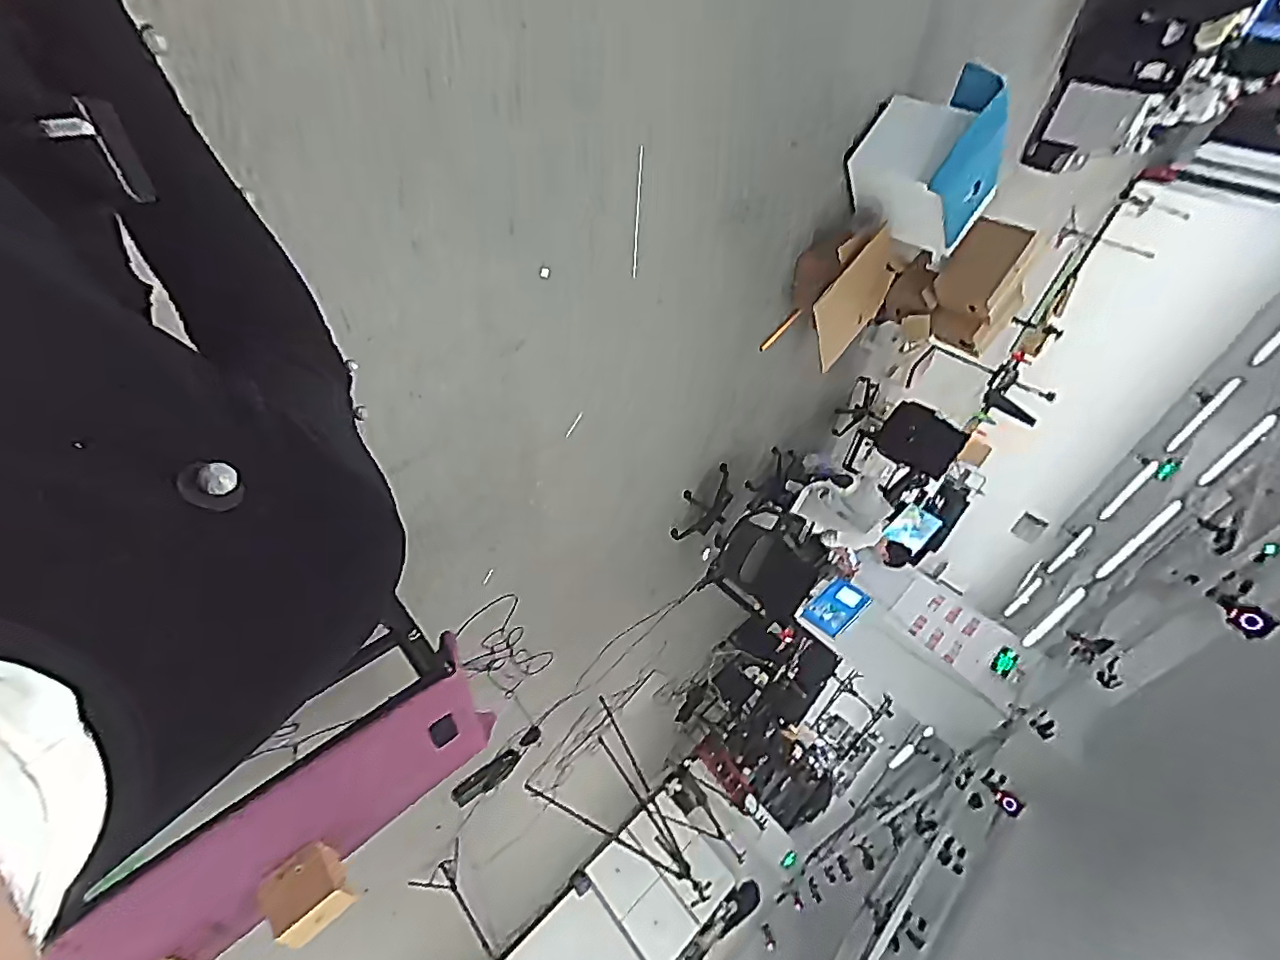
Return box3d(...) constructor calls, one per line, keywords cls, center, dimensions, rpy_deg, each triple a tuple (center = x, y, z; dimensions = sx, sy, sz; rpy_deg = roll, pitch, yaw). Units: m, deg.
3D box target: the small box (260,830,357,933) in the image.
box3d(cls="small box", center=(-0.967, 1.168, 1.580), dimensions=(0.168, 0.176, 0.179), rpy_deg=(-31, 145, -30))
